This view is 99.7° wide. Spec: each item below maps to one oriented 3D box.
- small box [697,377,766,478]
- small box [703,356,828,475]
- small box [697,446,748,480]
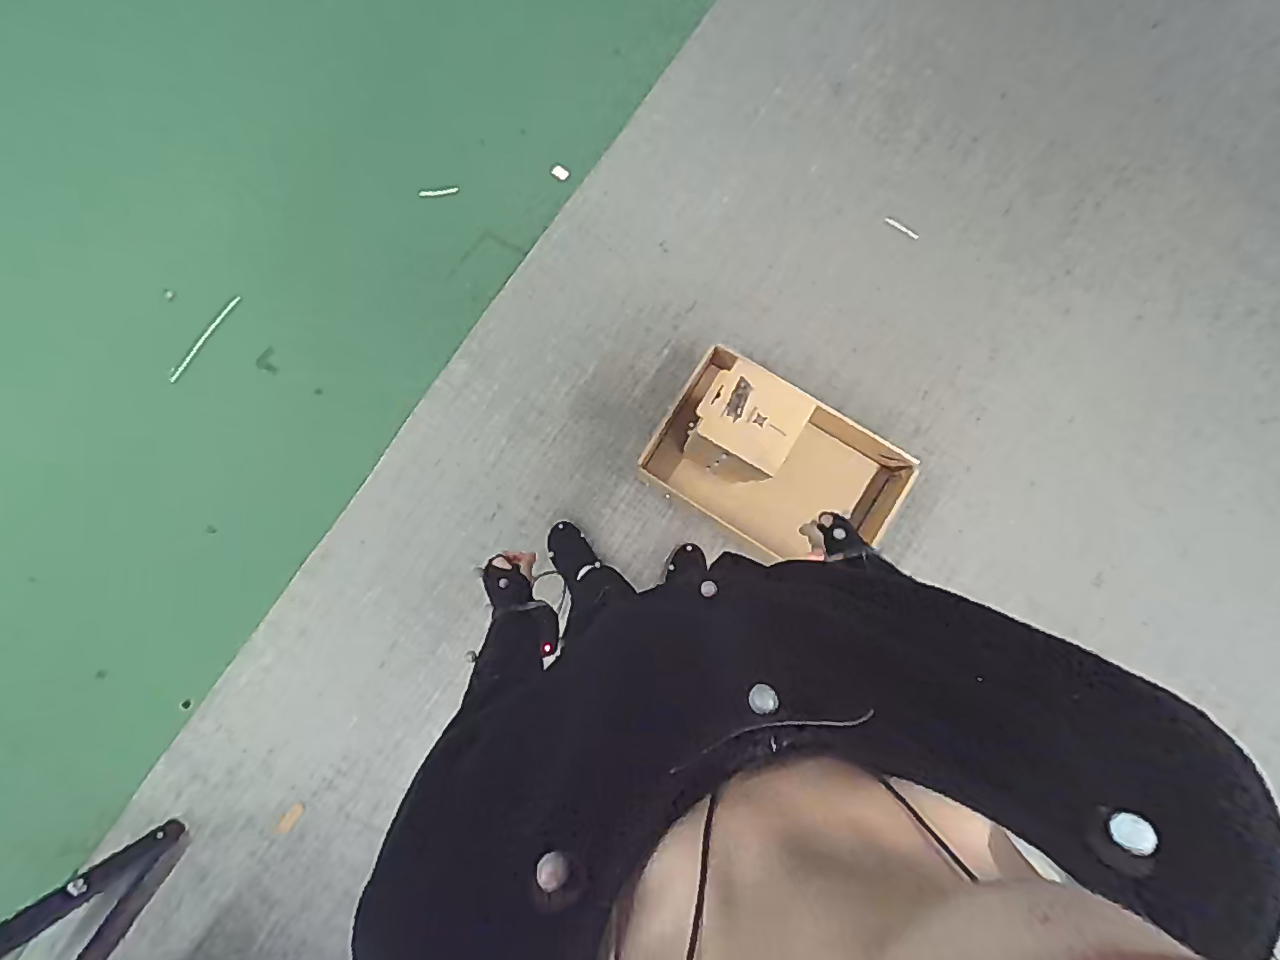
[{"bbox_3d":[0.246,-0.114,1.254,0.179,0.176,0.168,31,89,4],"label":"small box"},{"bbox_3d":[0.241,-0.119,1.091,0.179,0.176,0.168,31,89,3],"label":"small box"},{"bbox_3d":[0.259,-0.113,1.417,0.168,0.176,0.179,30,87,3],"label":"small box"}]
